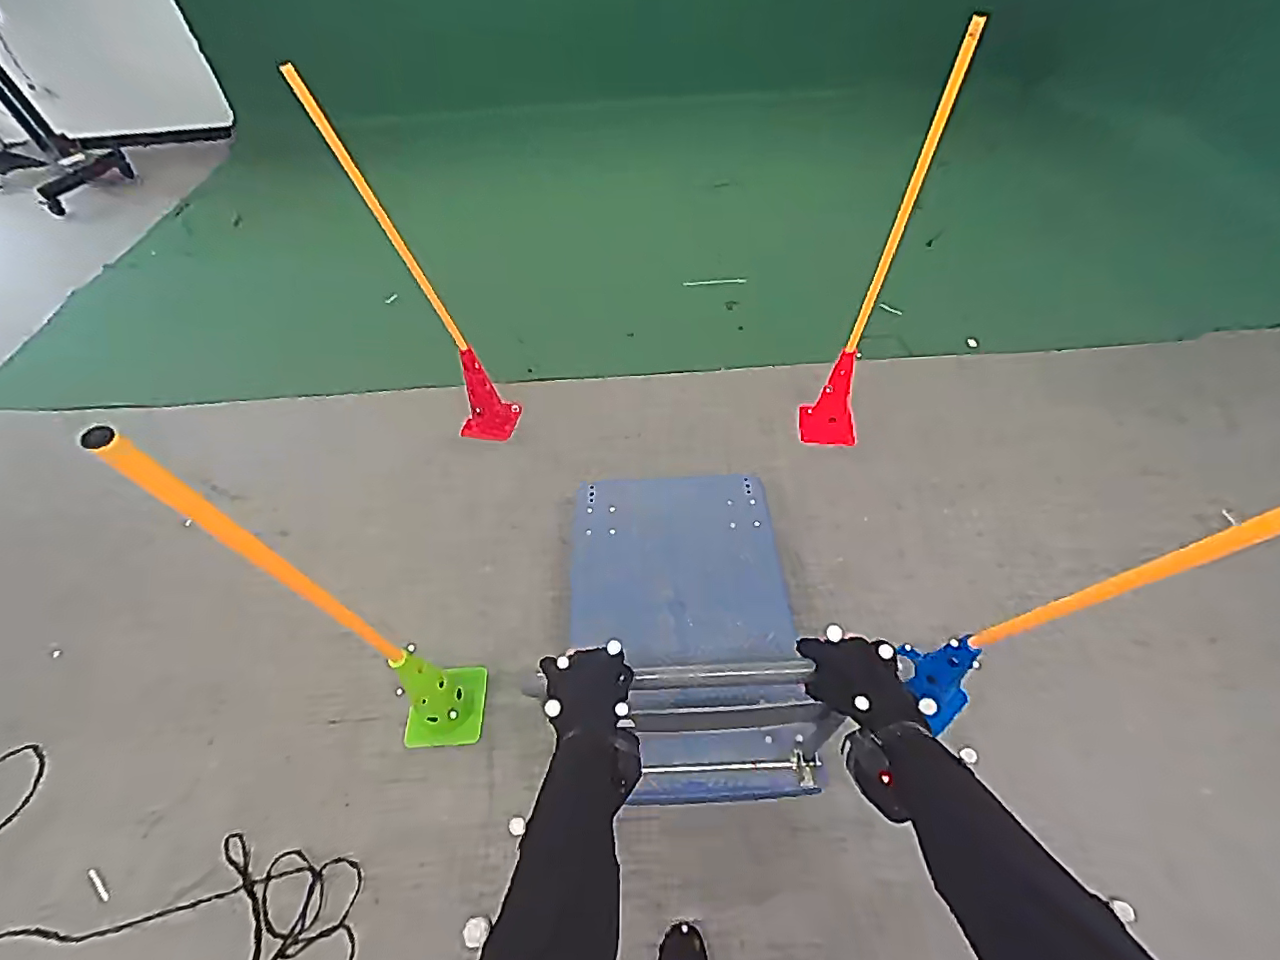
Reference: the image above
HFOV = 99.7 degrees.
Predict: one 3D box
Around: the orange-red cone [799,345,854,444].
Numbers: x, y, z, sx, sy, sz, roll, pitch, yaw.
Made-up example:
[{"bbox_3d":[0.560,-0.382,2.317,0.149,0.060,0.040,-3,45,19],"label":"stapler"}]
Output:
[{"bbox_3d":[0.690,-0.319,1.902,0.198,0.360,0.199,5,53,8],"label":"orange-red cone"}]
